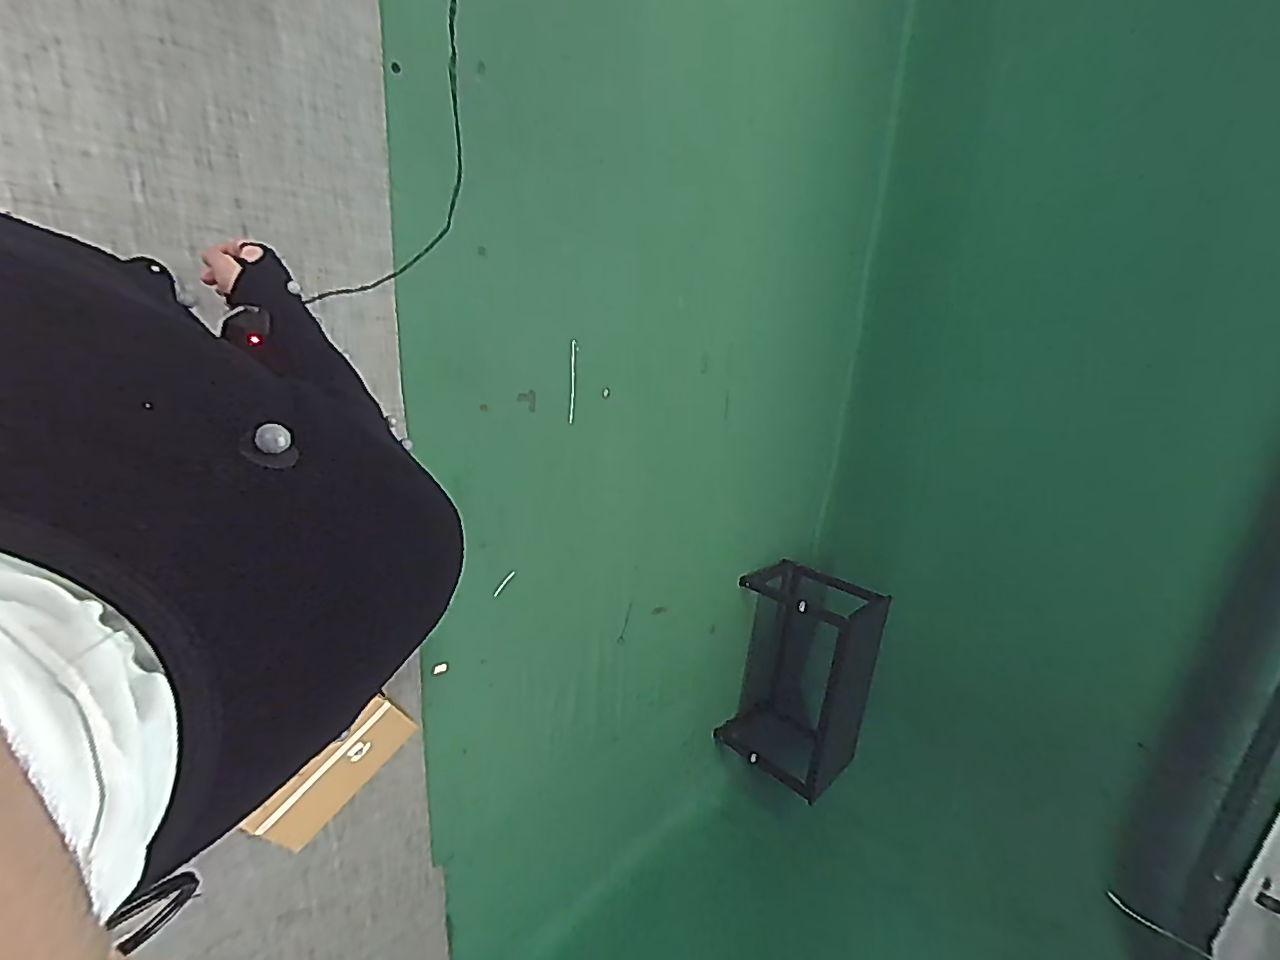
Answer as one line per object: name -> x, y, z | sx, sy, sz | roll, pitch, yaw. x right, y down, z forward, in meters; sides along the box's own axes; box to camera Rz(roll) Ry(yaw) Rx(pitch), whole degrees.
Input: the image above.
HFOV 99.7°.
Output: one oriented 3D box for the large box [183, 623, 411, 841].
large box -> -0.960, 0.698, 1.536 | 0.408, 0.320, 0.320 | -47, 134, -27
